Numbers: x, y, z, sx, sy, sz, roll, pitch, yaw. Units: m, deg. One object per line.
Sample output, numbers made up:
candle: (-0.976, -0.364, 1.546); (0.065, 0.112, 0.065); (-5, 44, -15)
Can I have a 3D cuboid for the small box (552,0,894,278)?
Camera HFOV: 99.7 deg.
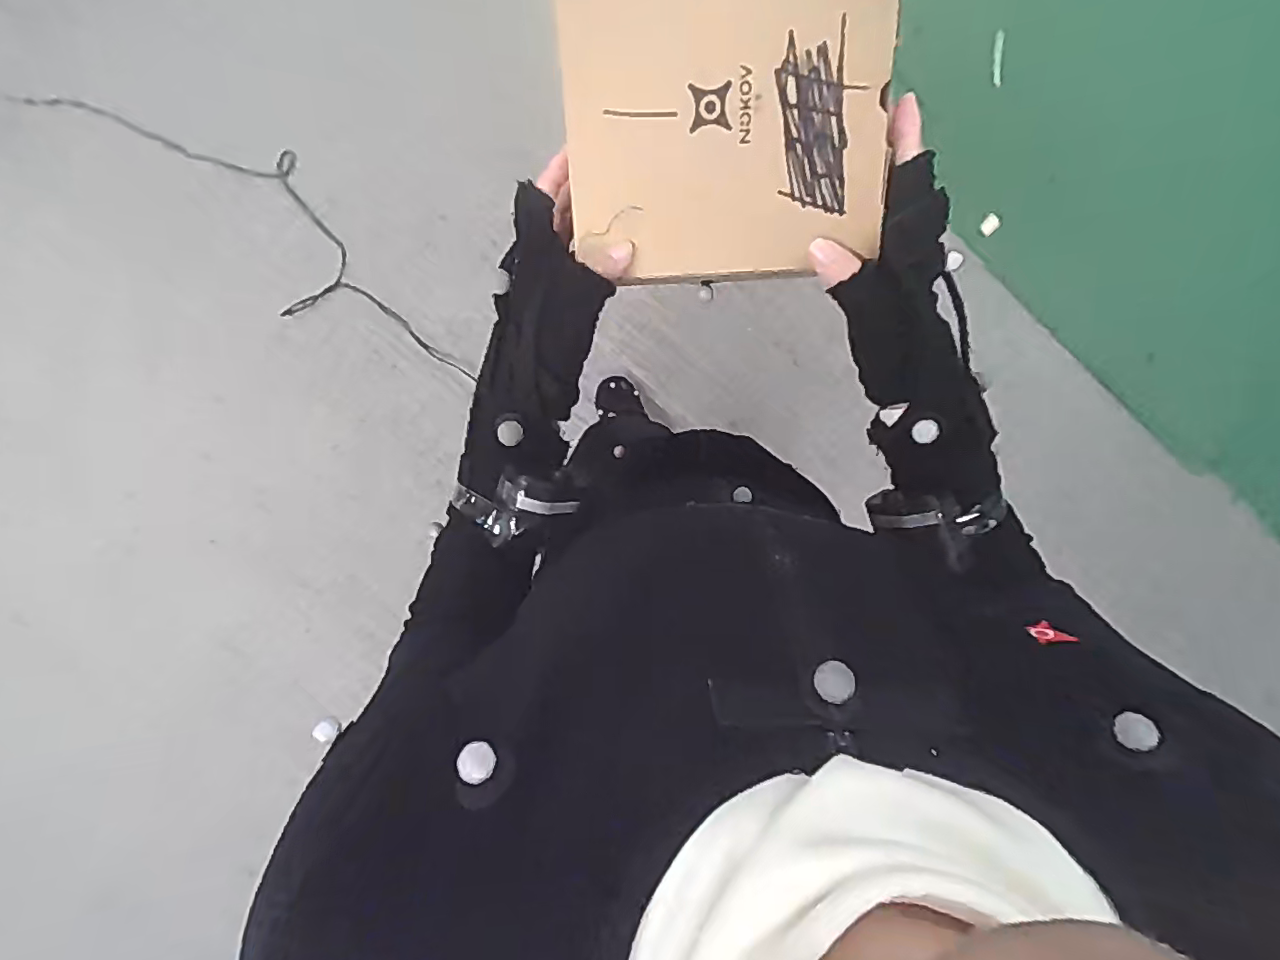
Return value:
small box: (0.048, -0.233, 0.364); (0.179, 0.176, 0.168); (-6, 109, 4)
